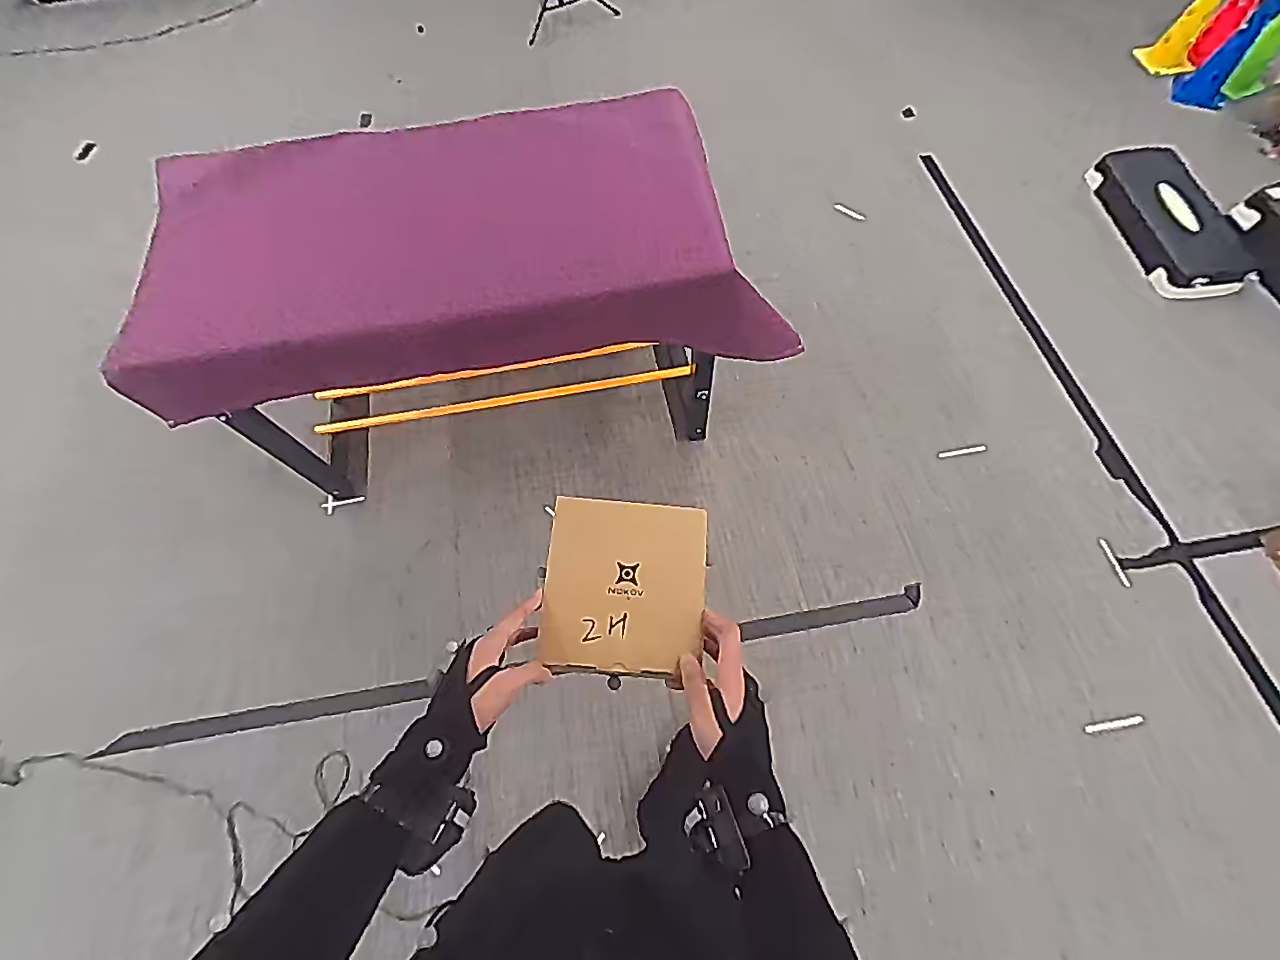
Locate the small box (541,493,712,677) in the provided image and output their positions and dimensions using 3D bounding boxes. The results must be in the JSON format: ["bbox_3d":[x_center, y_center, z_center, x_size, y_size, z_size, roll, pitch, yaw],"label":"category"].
[{"bbox_3d":[-0.015,0.131,0.634,0.168,0.176,0.179,6,69,-1],"label":"small box"}]
